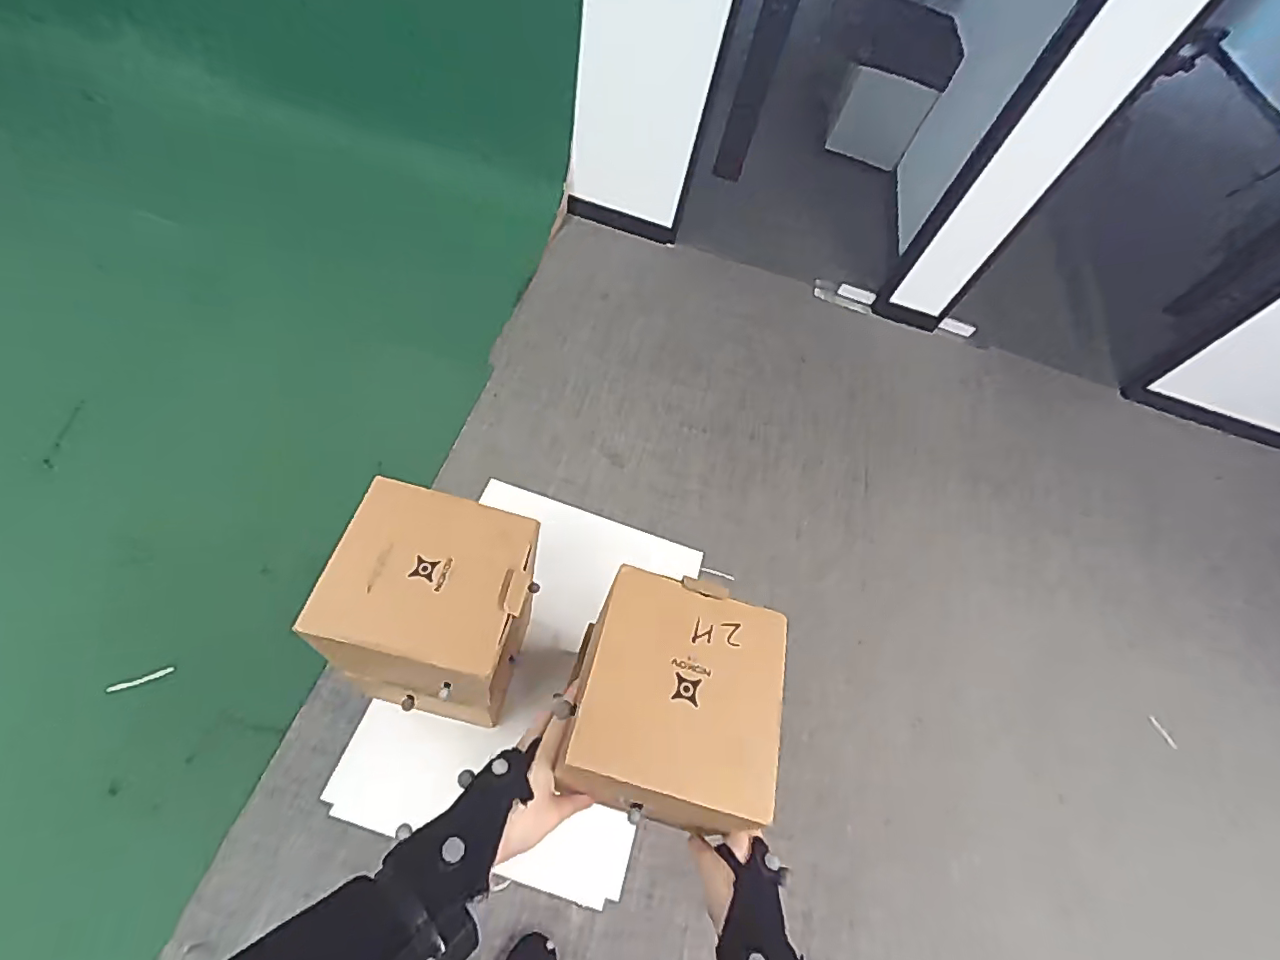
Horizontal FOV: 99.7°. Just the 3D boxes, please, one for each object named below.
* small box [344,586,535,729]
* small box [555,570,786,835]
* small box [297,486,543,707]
[{"bbox_3d":[-0.251,0.219,0.718,0.179,0.176,0.168,16,57,-4],"label":"small box"},{"bbox_3d":[0.023,0.220,0.520,0.168,0.176,0.179,19,52,-3],"label":"small box"},{"bbox_3d":[-0.216,0.135,0.582,0.179,0.176,0.168,15,56,-5],"label":"small box"}]
